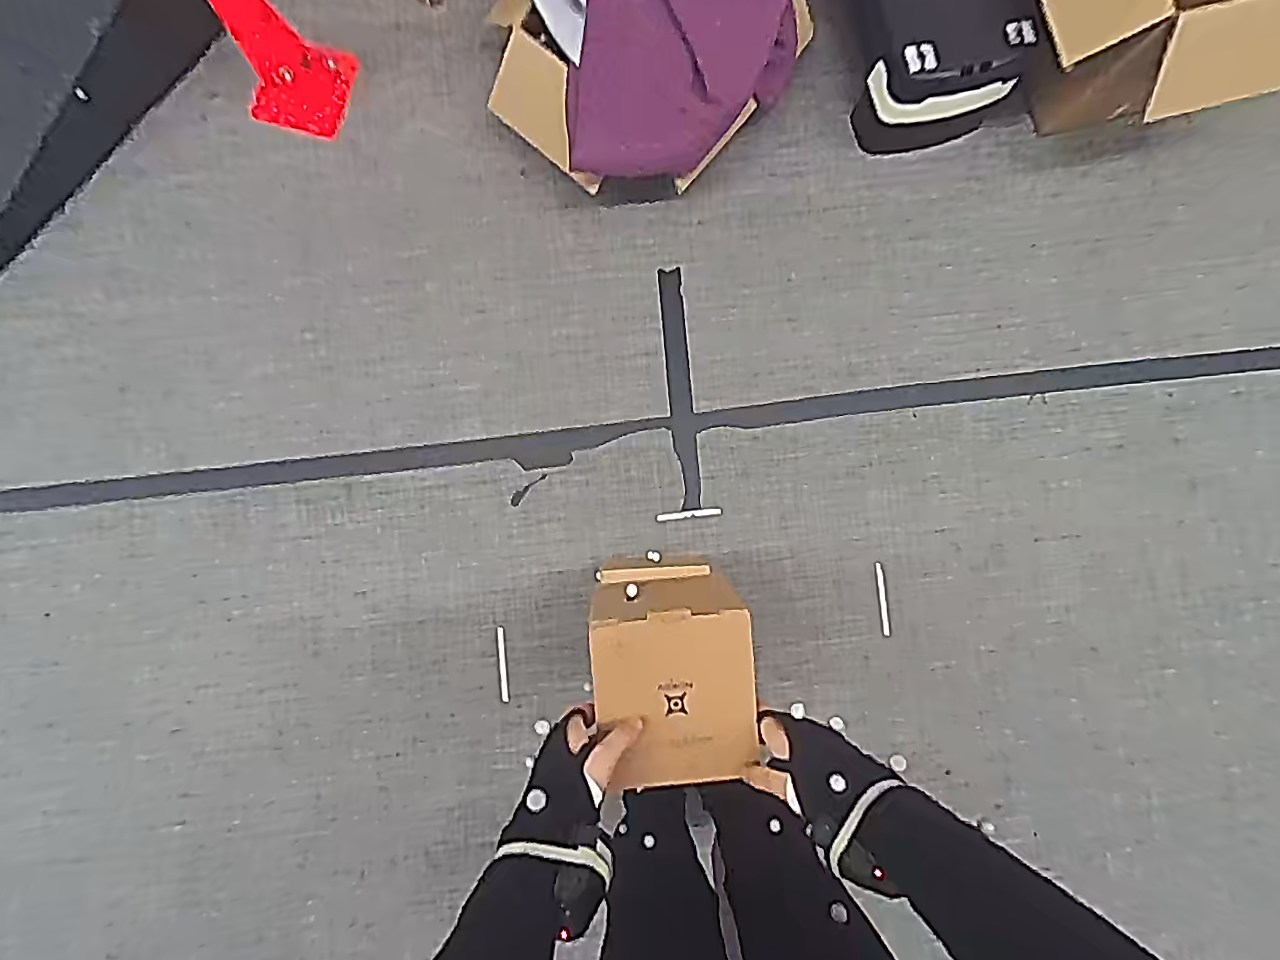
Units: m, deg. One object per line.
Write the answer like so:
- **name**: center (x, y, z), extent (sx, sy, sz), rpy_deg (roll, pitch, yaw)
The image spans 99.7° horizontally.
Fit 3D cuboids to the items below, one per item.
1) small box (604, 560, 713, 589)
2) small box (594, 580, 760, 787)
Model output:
- **small box**: center (0.027, 0.222, 0.875), extent (0.168, 0.176, 0.179), rpy_deg (-2, 87, -1)
- **small box**: center (0.036, 0.219, 0.629), extent (0.168, 0.176, 0.179), rpy_deg (-4, 93, -1)
